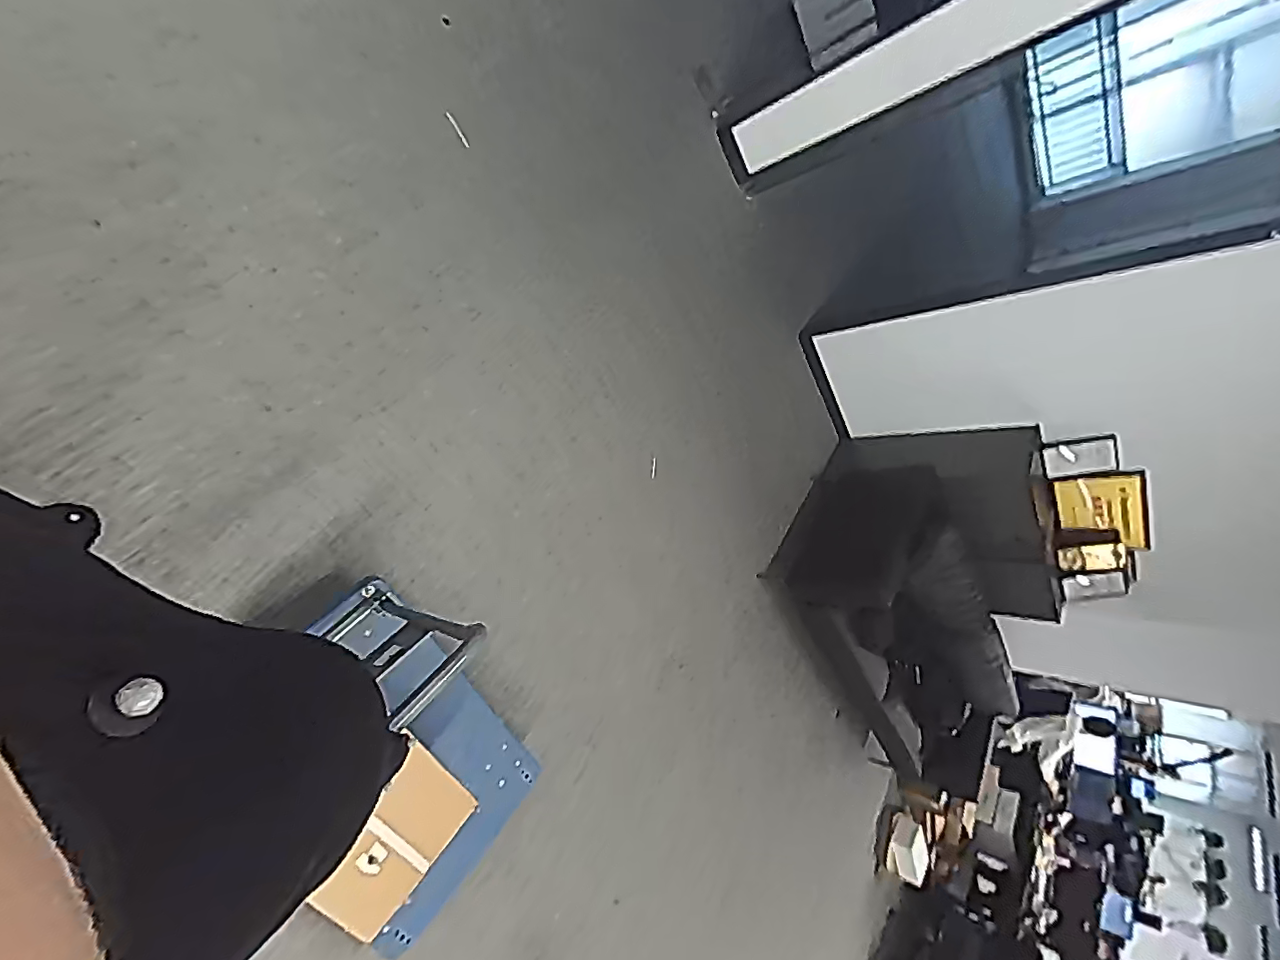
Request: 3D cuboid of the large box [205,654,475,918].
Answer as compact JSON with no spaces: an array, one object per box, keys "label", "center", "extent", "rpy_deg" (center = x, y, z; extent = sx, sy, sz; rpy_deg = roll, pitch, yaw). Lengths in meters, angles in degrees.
[{"label":"large box","center":[-0.669,0.668,1.229],"extent":[0.320,0.320,0.408],"rpy_deg":[-46,121,-34]}]
